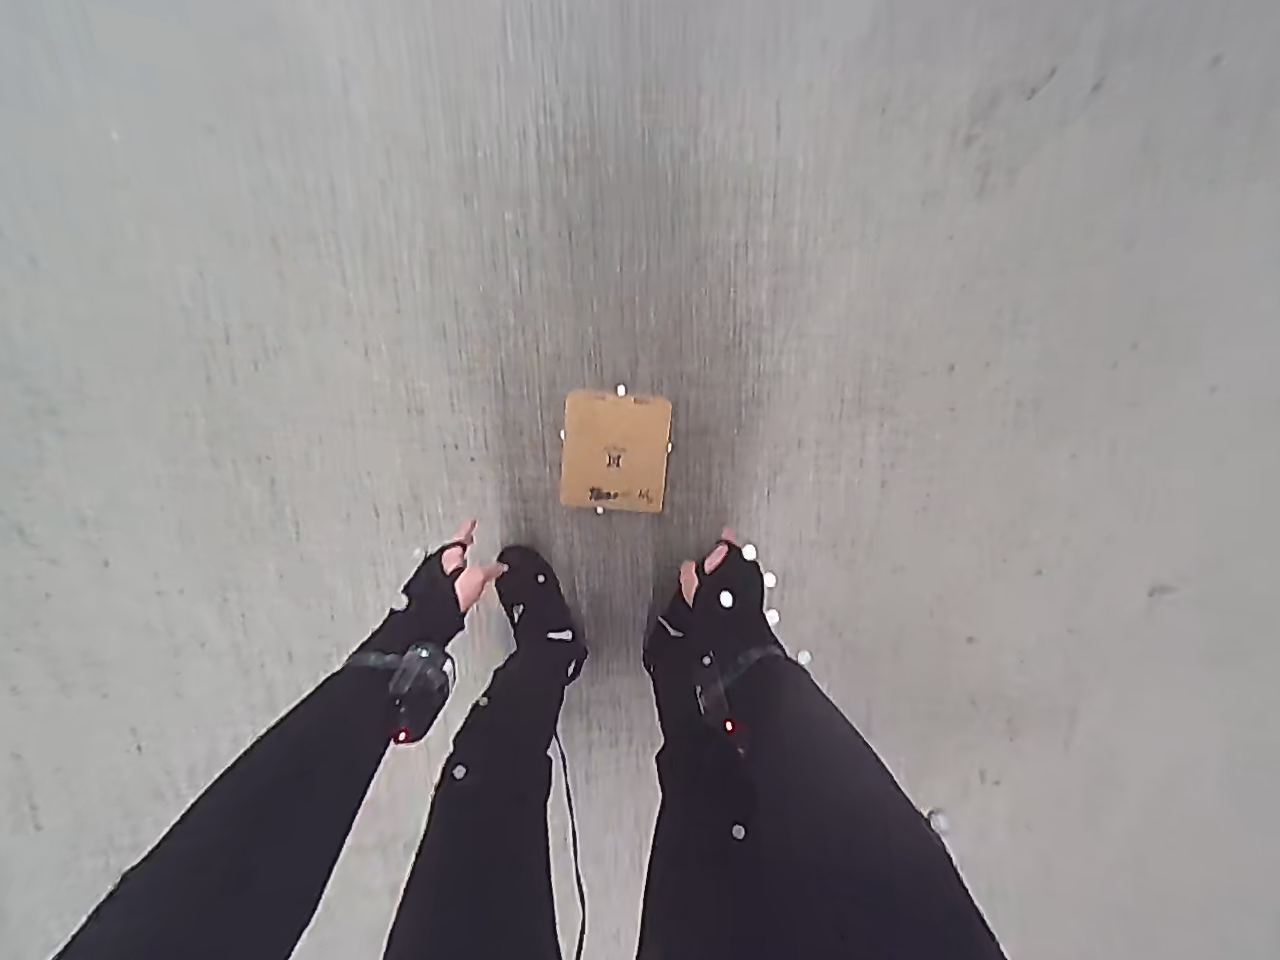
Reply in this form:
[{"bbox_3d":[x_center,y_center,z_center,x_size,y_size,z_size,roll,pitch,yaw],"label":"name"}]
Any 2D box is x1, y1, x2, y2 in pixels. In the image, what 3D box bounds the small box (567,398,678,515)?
[{"bbox_3d":[-0.032,-0.048,0.937,0.168,0.176,0.179,5,100,-2],"label":"small box"}]
